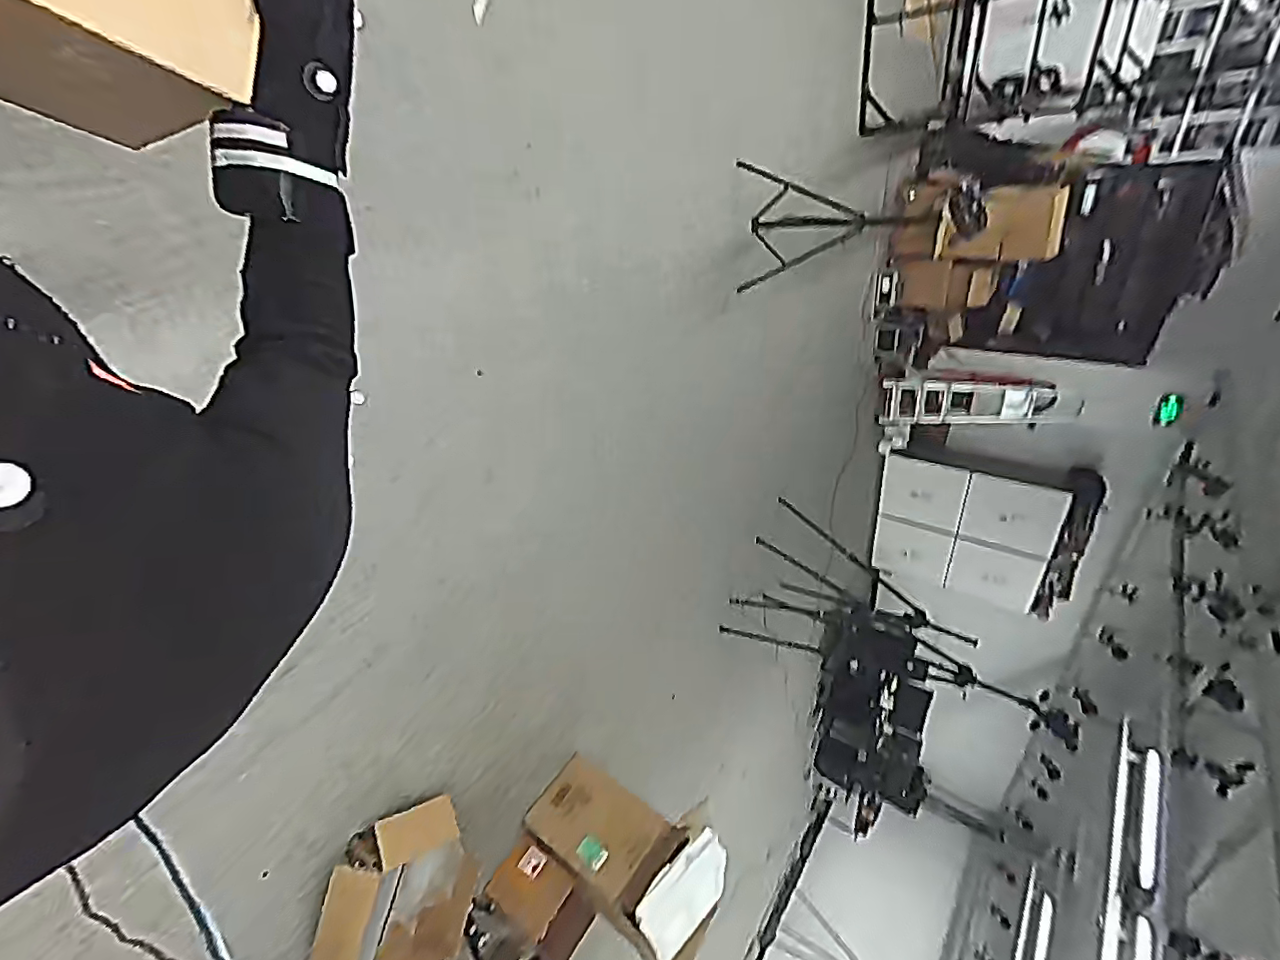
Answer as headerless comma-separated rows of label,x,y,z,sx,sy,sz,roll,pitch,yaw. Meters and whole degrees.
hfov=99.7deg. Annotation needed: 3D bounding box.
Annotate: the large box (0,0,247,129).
large box,-0.485,-0.457,0.278,0.408,0.320,0.320,0,105,-55
